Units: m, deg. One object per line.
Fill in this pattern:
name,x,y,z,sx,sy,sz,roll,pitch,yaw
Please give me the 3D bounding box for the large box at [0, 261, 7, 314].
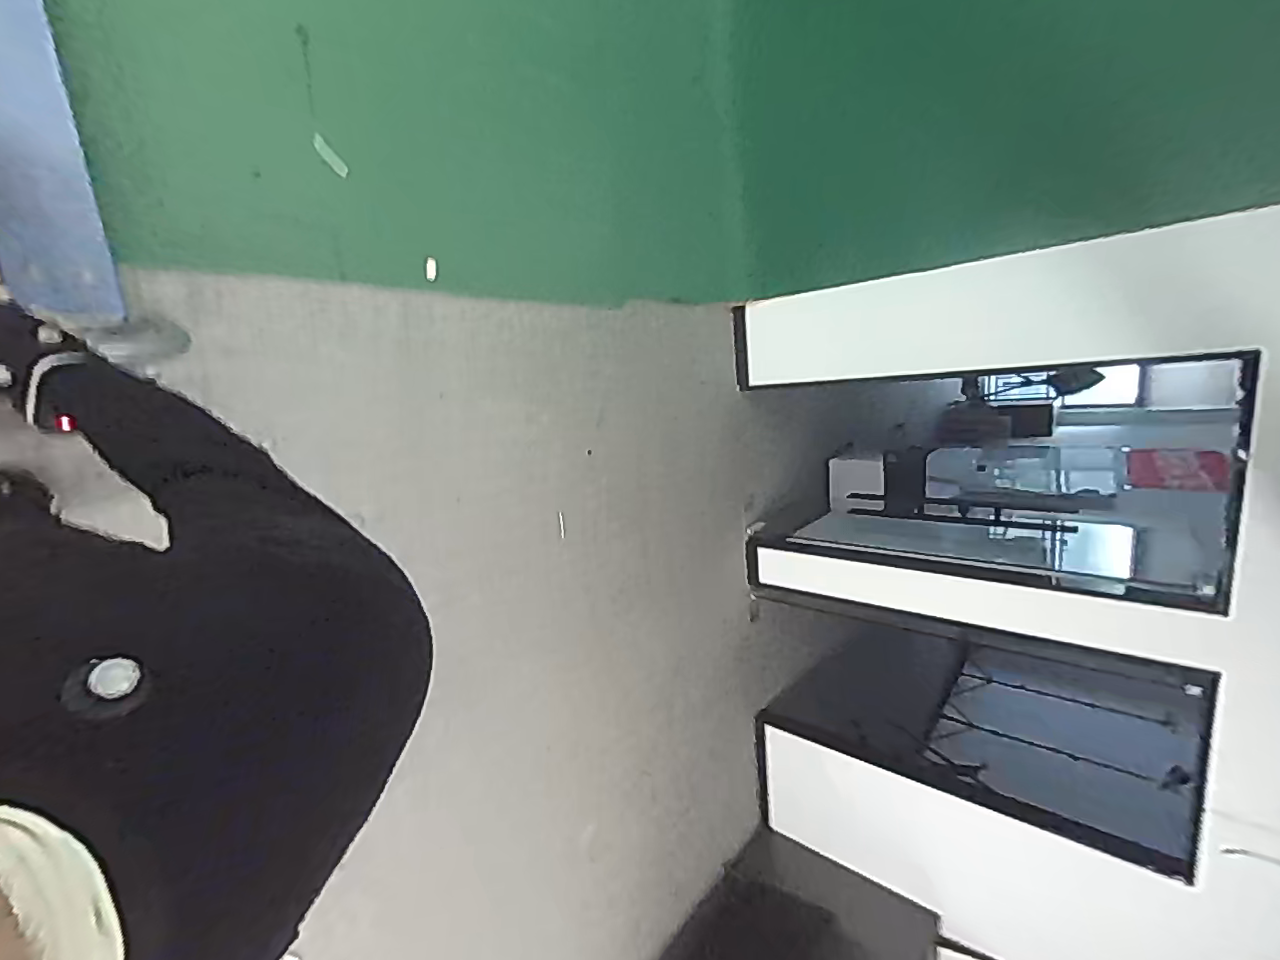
large box,-1.123,-0.442,0.706,0.320,0.320,0.408,-18,106,-48
